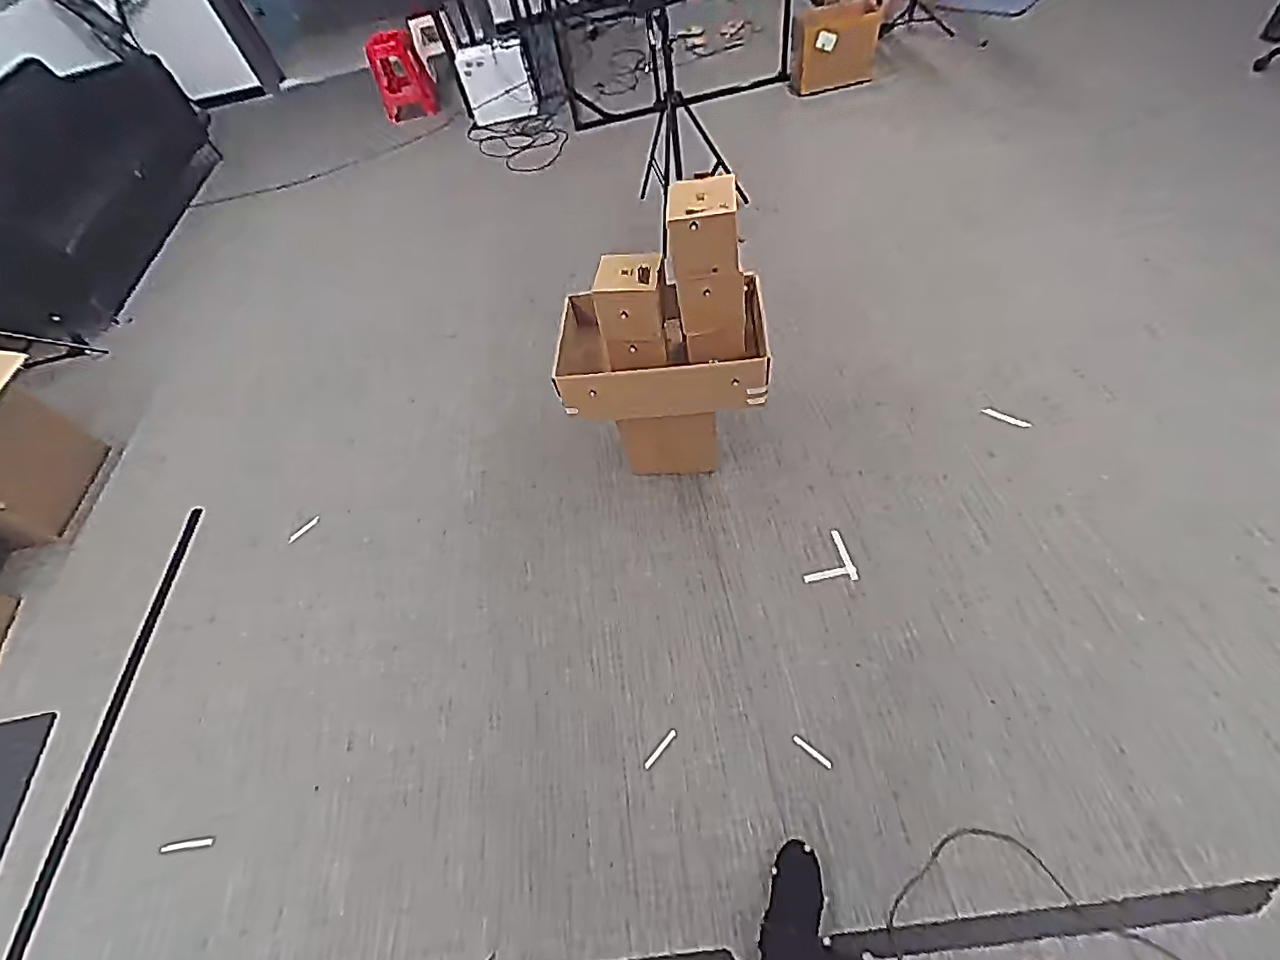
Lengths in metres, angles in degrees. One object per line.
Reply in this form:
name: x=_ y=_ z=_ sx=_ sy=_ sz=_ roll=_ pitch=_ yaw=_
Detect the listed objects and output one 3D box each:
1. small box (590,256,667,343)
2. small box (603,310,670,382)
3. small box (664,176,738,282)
small box: x=-0.024 y=-0.499 z=1.507 sx=0.179 sy=0.176 sz=0.168 roll=2 pitch=56 yaw=12
small box: x=-0.003 y=-0.416 z=1.647 sx=0.179 sy=0.176 sz=0.168 roll=-1 pitch=55 yaw=10
small box: x=0.157 y=-0.622 z=1.348 sx=0.168 sy=0.176 sz=0.179 roll=-3 pitch=54 yaw=12
